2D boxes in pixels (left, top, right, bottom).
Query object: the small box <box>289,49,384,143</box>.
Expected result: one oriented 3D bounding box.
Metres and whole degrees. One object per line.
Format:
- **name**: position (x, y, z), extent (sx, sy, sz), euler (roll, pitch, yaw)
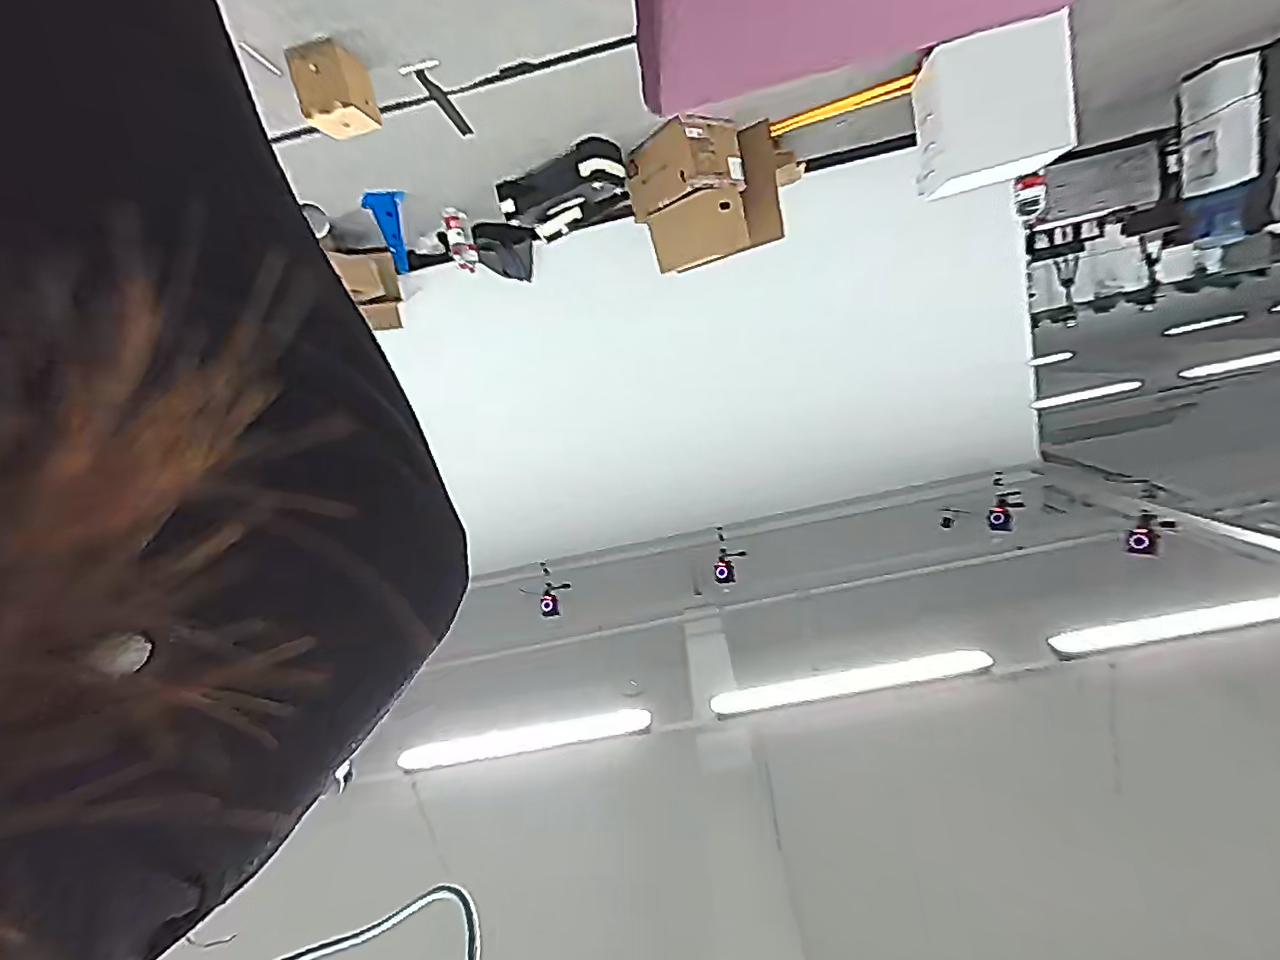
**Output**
- **small box**: position (-0.941, -1.192, 1.685), extent (0.168, 0.176, 0.179), euler (-12, -169, 8)
